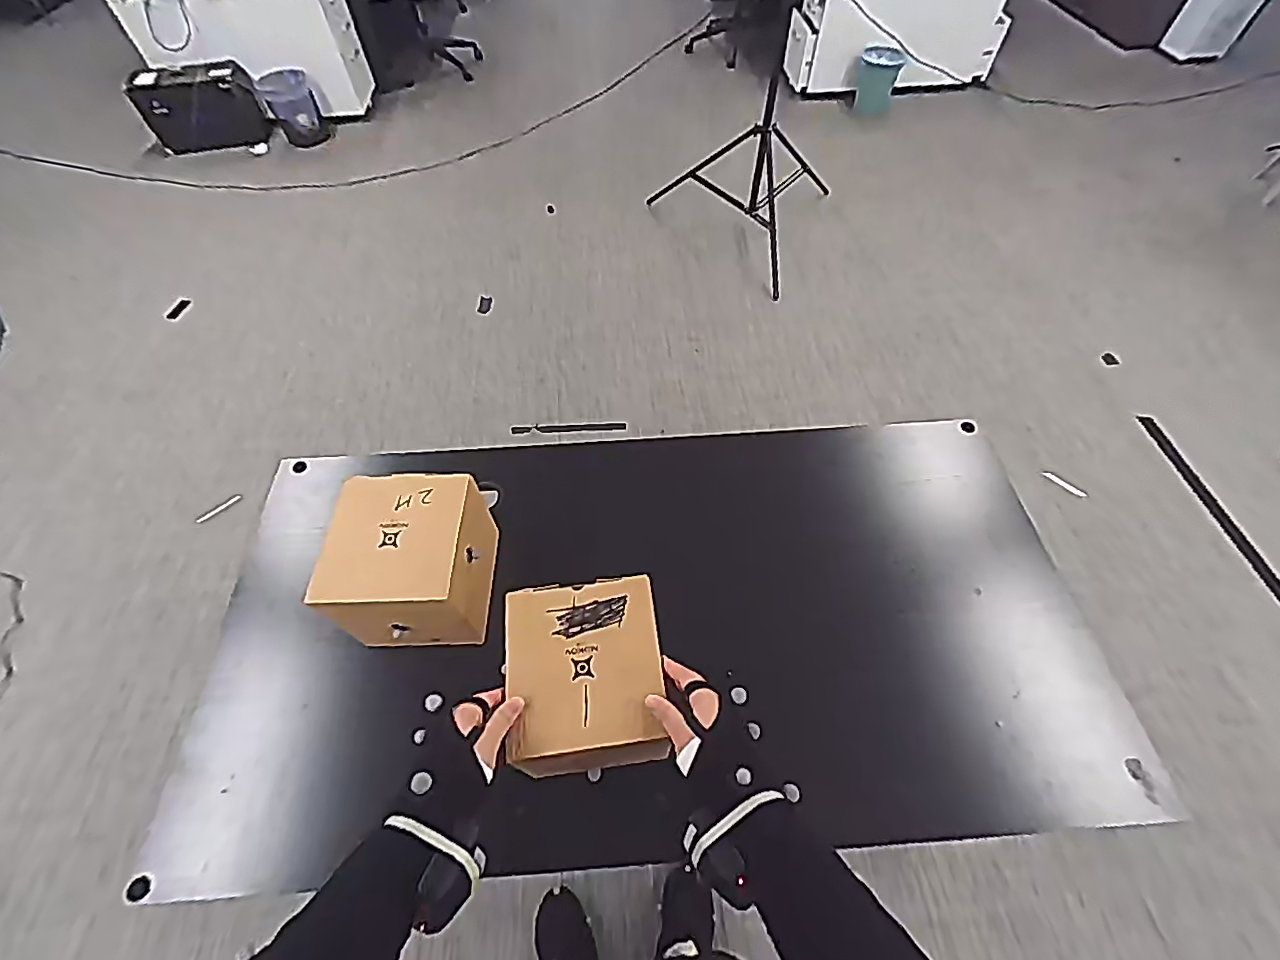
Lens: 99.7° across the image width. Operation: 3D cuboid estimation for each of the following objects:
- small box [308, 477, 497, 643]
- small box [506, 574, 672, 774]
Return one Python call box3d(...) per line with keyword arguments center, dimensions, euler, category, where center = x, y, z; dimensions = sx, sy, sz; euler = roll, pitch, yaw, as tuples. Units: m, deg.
box3d(center=(-0.299, 0.115, 0.729), dimensions=(0.168, 0.176, 0.179), euler=(-2, 56, 0), category="small box")
box3d(center=(-0.059, 0.233, 0.642), dimensions=(0.168, 0.176, 0.179), euler=(-8, 57, -3), category="small box")
